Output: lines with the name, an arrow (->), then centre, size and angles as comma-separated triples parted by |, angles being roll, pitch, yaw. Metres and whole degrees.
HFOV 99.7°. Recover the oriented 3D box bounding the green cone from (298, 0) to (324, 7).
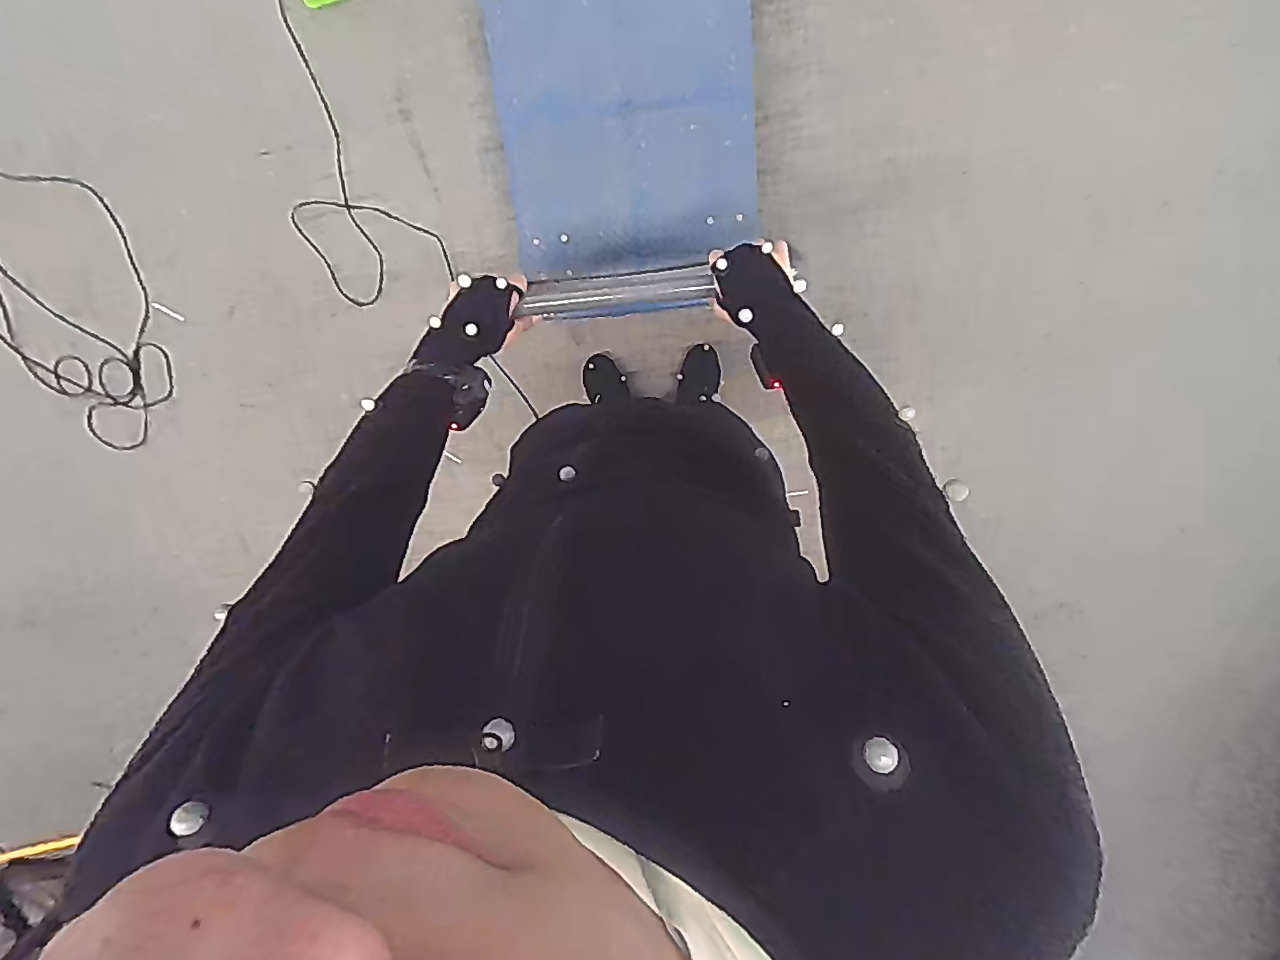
green cone -> -0.780, -1.220, 1.126 | 0.202, 0.368, 0.200 | -12, 107, 9
